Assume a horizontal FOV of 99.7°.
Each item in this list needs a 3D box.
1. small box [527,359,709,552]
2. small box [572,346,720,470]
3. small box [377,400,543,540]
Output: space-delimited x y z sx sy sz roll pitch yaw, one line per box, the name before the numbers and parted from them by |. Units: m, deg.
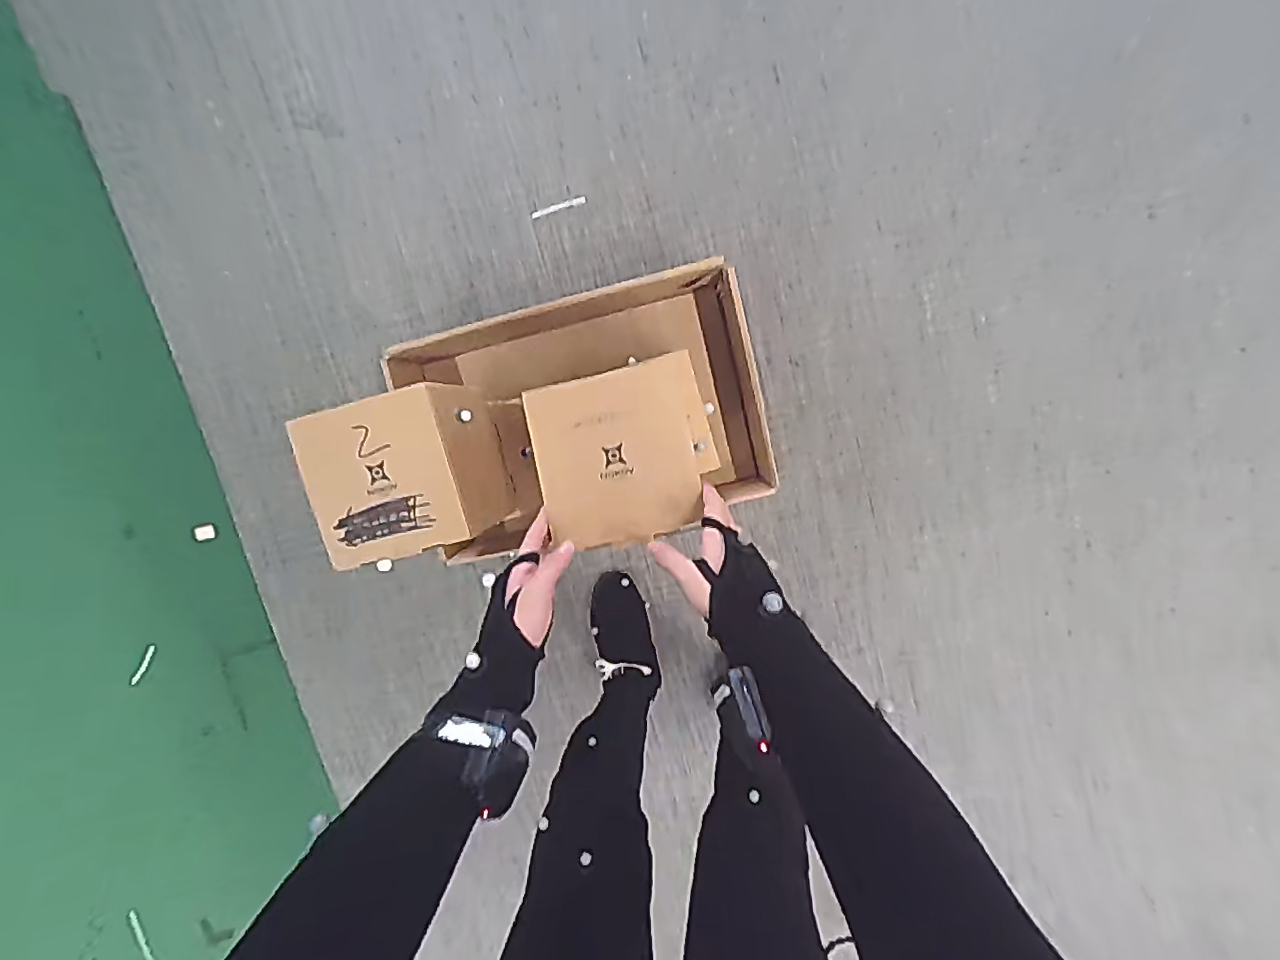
small box | -0.016 -0.025 0.632 0.168 0.176 0.179 -11 89 5
small box | 0.010 -0.087 0.799 0.179 0.176 0.168 -16 98 6
small box | -0.258 -0.023 0.827 0.179 0.176 0.168 -14 96 4
